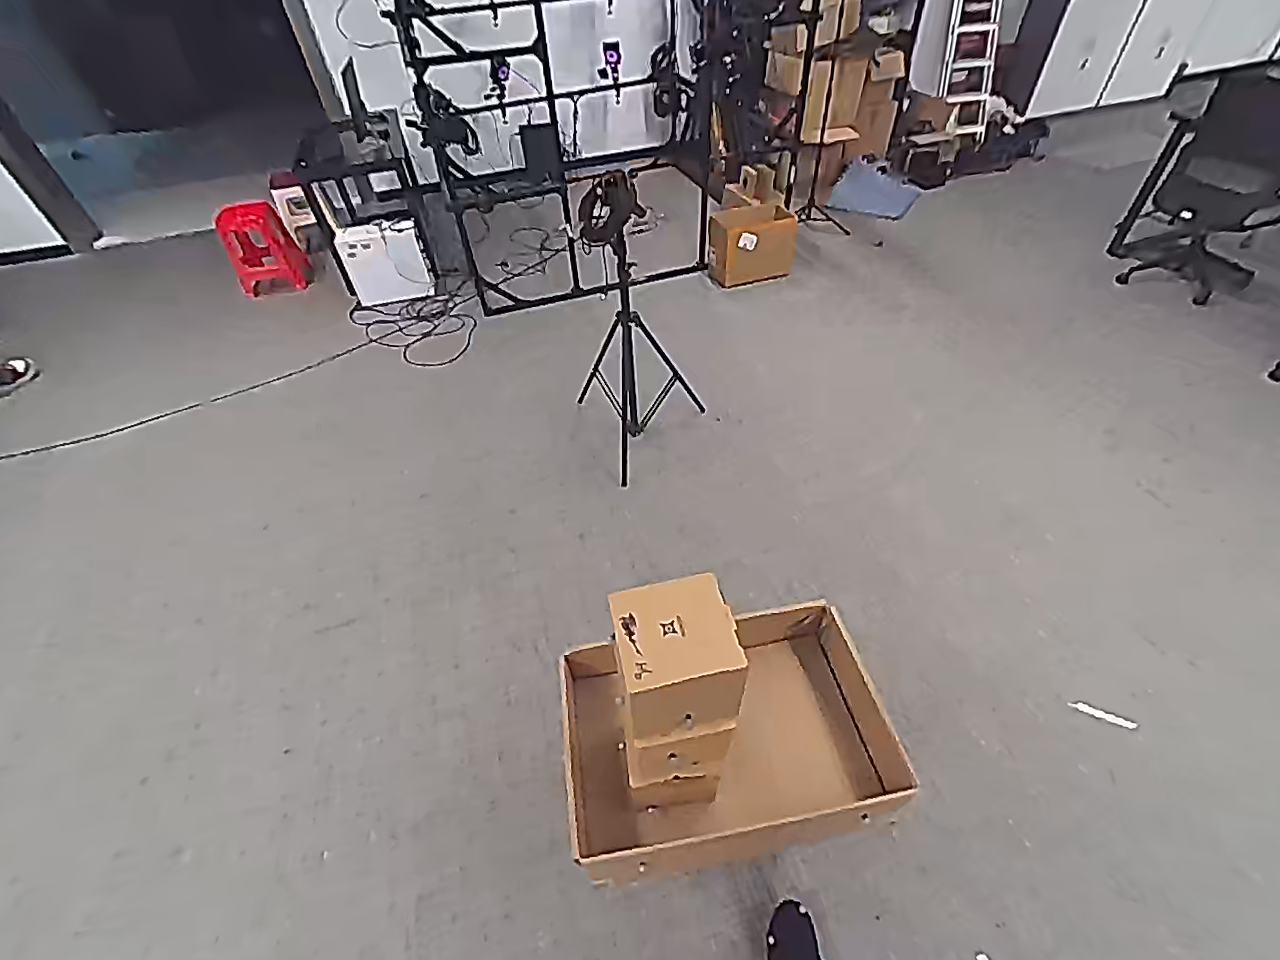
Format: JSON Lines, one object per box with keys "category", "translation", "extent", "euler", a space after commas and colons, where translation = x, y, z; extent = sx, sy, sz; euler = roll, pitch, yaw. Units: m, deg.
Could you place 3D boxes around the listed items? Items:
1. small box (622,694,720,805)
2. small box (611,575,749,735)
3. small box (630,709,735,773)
{"category": "small box", "translation": [0.058, 0.522, 1.066], "extent": [0.168, 0.176, 0.179], "euler": [-6, 45, -4]}
{"category": "small box", "translation": [0.054, 0.275, 0.851], "extent": [0.179, 0.176, 0.168], "euler": [-9, 44, -7]}
{"category": "small box", "translation": [0.061, 0.398, 0.960], "extent": [0.168, 0.176, 0.179], "euler": [-9, 45, -6]}
